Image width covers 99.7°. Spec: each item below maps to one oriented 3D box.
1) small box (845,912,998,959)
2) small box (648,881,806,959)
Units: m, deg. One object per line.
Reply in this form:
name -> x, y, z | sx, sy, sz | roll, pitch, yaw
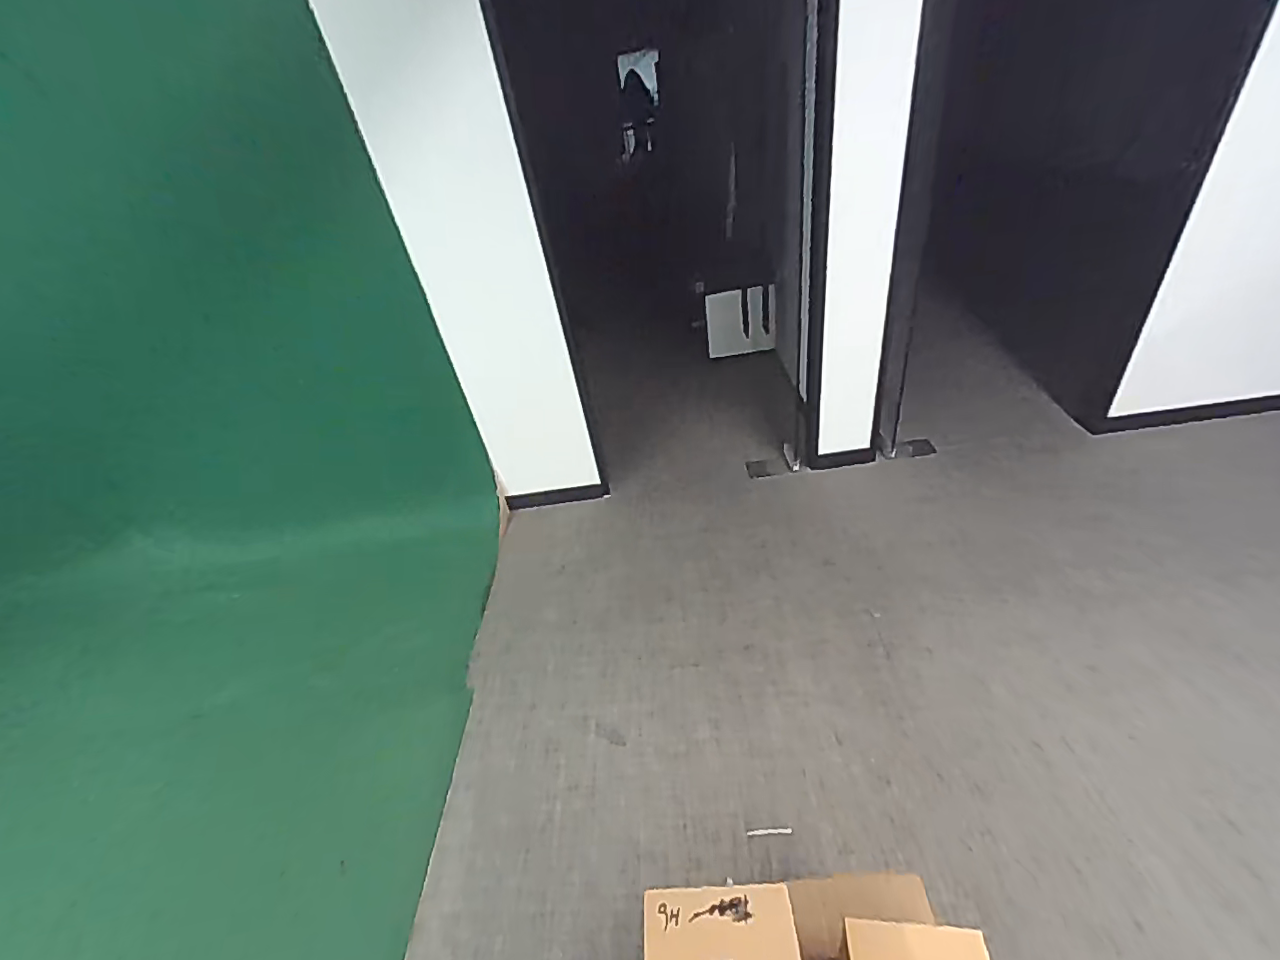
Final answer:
small box -> 0.357, 0.674, 0.668 | 0.168, 0.176, 0.179 | -5, 37, 11
small box -> 0.101, 0.575, 0.596 | 0.168, 0.176, 0.179 | -6, 39, 4
